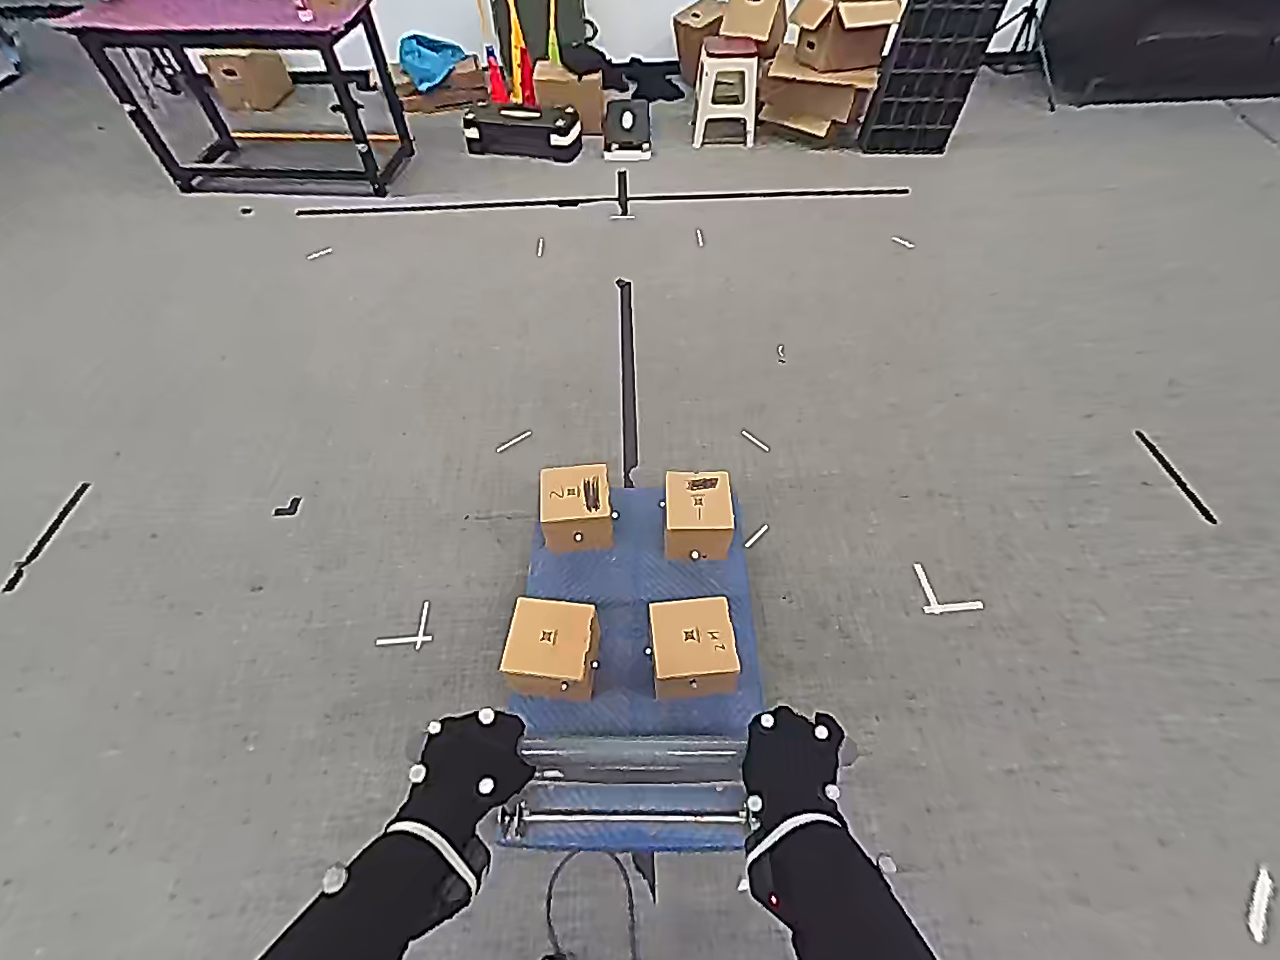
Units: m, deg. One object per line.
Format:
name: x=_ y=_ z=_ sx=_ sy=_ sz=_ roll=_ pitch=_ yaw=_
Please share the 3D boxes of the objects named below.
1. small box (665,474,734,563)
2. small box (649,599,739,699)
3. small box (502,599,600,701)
small box: x=0.150 y=0.103 z=1.428 sx=0.168 sy=0.176 sz=0.179 roll=0 pitch=54 yaw=1
small box: x=0.115 y=0.385 z=1.219 sx=0.179 sy=0.176 sz=0.168 roll=-4 pitch=53 yaw=-2
small box: x=-0.192 y=0.387 z=1.222 sx=0.179 sy=0.176 sz=0.168 roll=5 pitch=53 yaw=3
